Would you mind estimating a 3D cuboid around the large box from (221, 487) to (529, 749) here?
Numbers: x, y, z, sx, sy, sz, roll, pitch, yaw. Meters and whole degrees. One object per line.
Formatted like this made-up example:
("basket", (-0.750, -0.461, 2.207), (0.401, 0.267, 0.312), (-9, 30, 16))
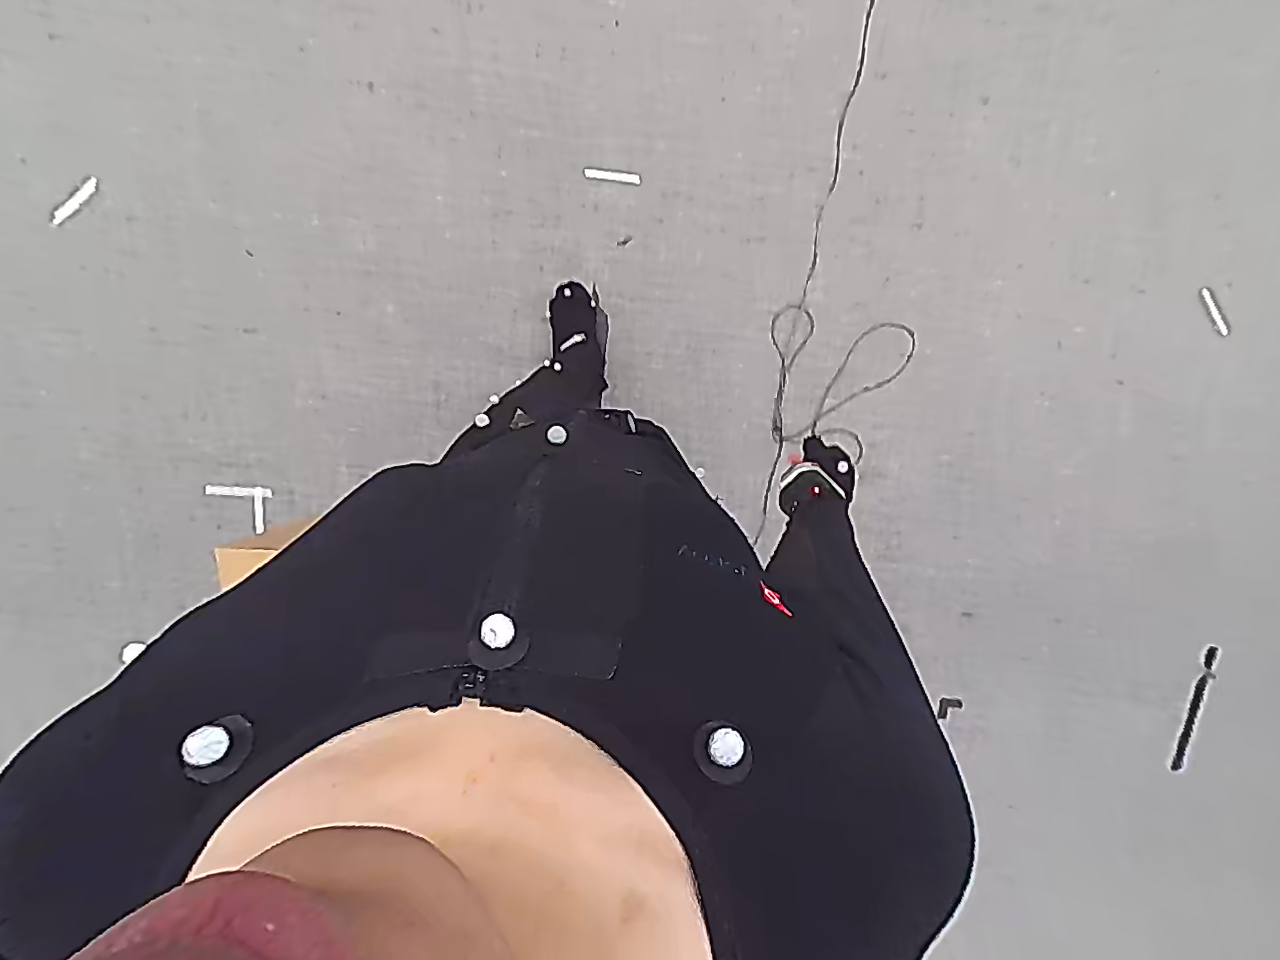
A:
("large box", (-0.420, 0.206, 0.969), (0.320, 0.408, 0.320), (-1, 101, 11))
